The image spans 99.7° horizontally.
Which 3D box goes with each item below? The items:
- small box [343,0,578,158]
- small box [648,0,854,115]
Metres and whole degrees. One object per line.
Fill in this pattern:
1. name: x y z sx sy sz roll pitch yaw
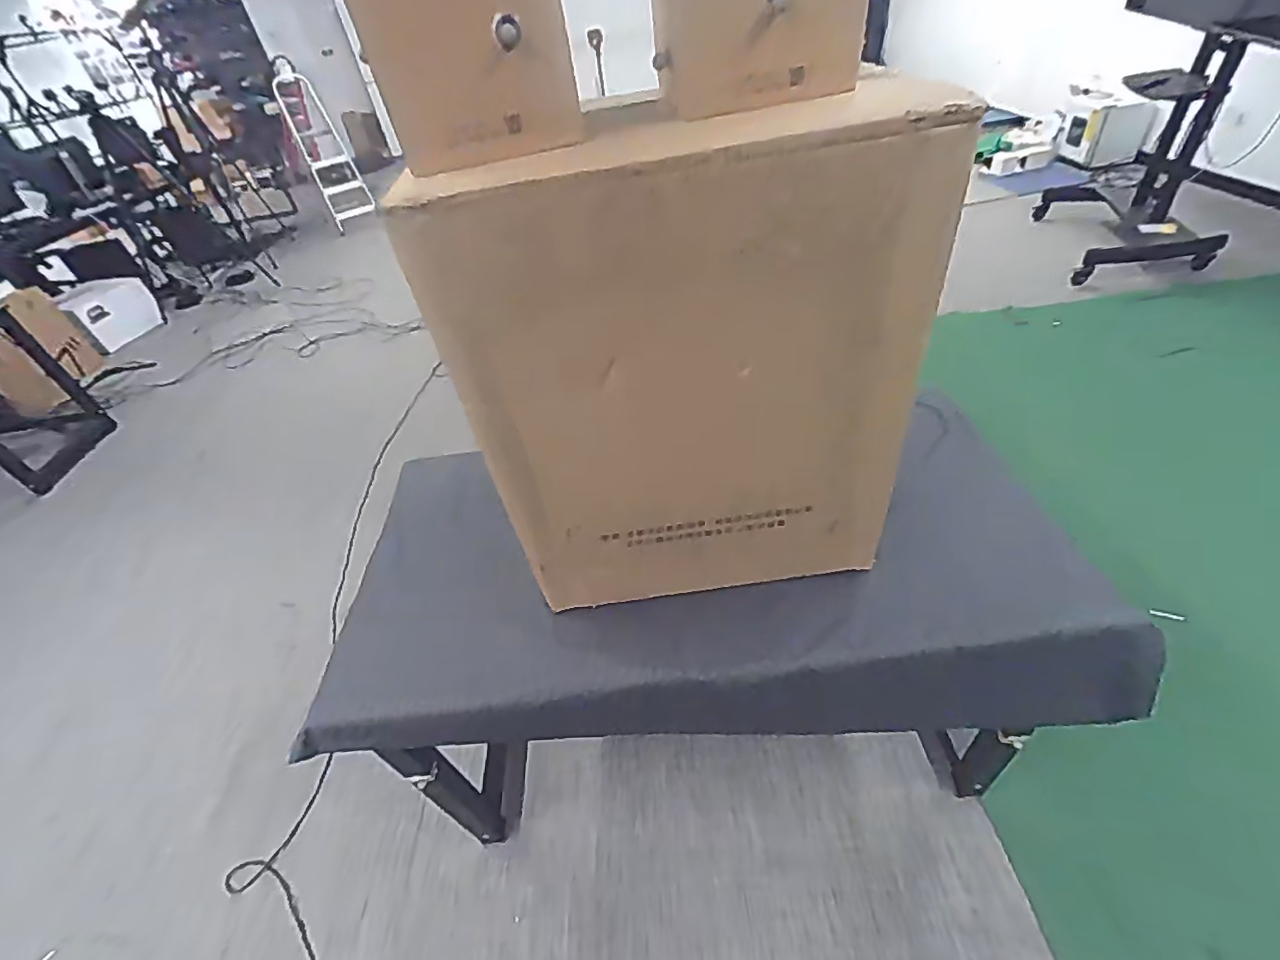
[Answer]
1. small box: -0.163 -0.420 0.500 0.168 0.176 0.179 -16 46 -4
2. small box: 0.099 -0.471 0.517 0.168 0.176 0.179 -11 46 0
